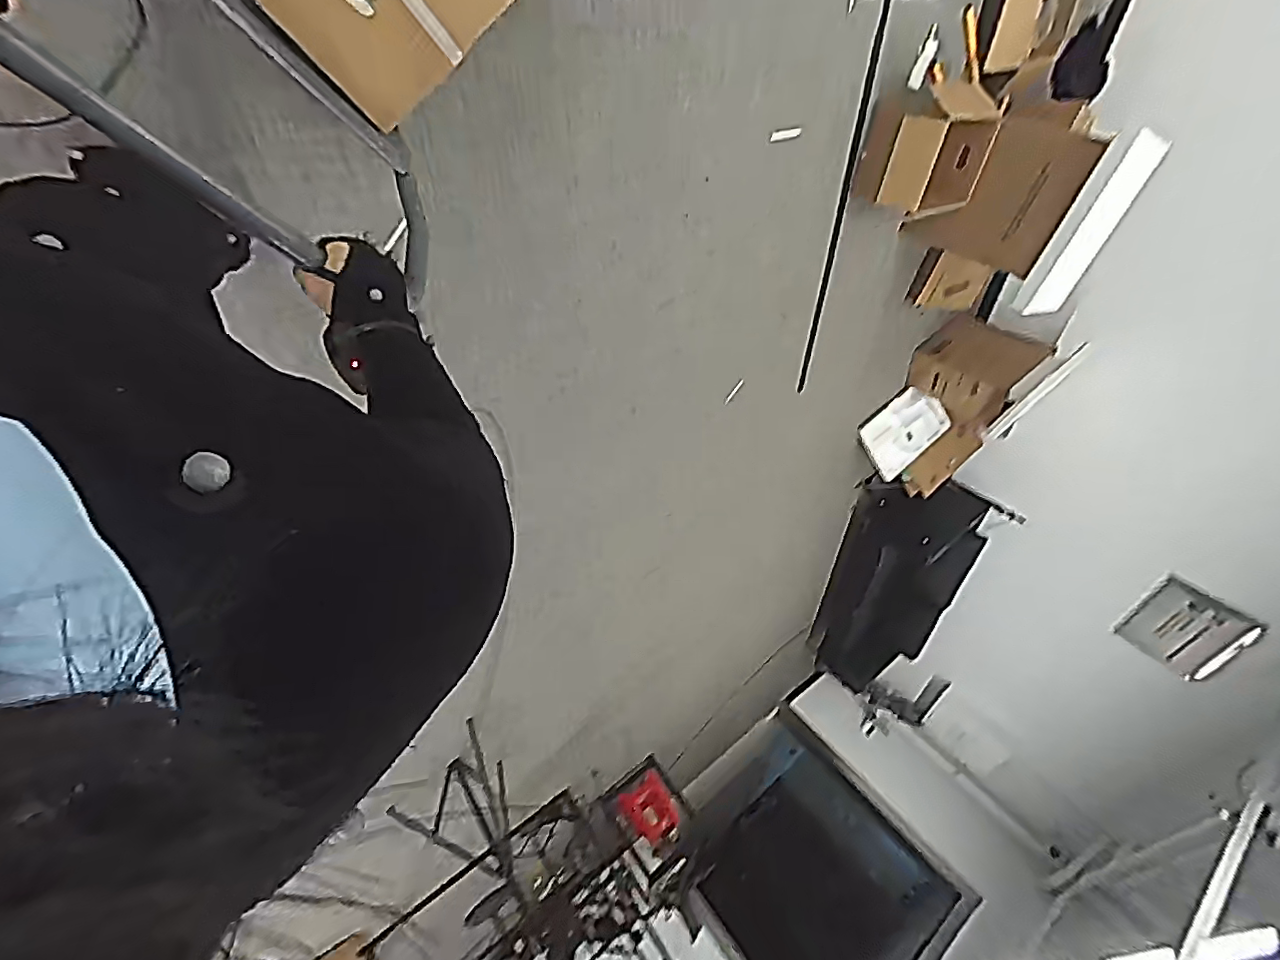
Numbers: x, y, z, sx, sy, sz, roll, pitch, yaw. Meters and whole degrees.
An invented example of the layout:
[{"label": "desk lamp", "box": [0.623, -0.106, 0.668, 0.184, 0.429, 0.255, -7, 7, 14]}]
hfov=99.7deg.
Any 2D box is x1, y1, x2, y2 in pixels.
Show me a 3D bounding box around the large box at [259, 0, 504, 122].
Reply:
[{"label": "large box", "box": [-0.435, -0.814, 0.724, 0.320, 0.320, 0.408, -36, 147, 11]}]
